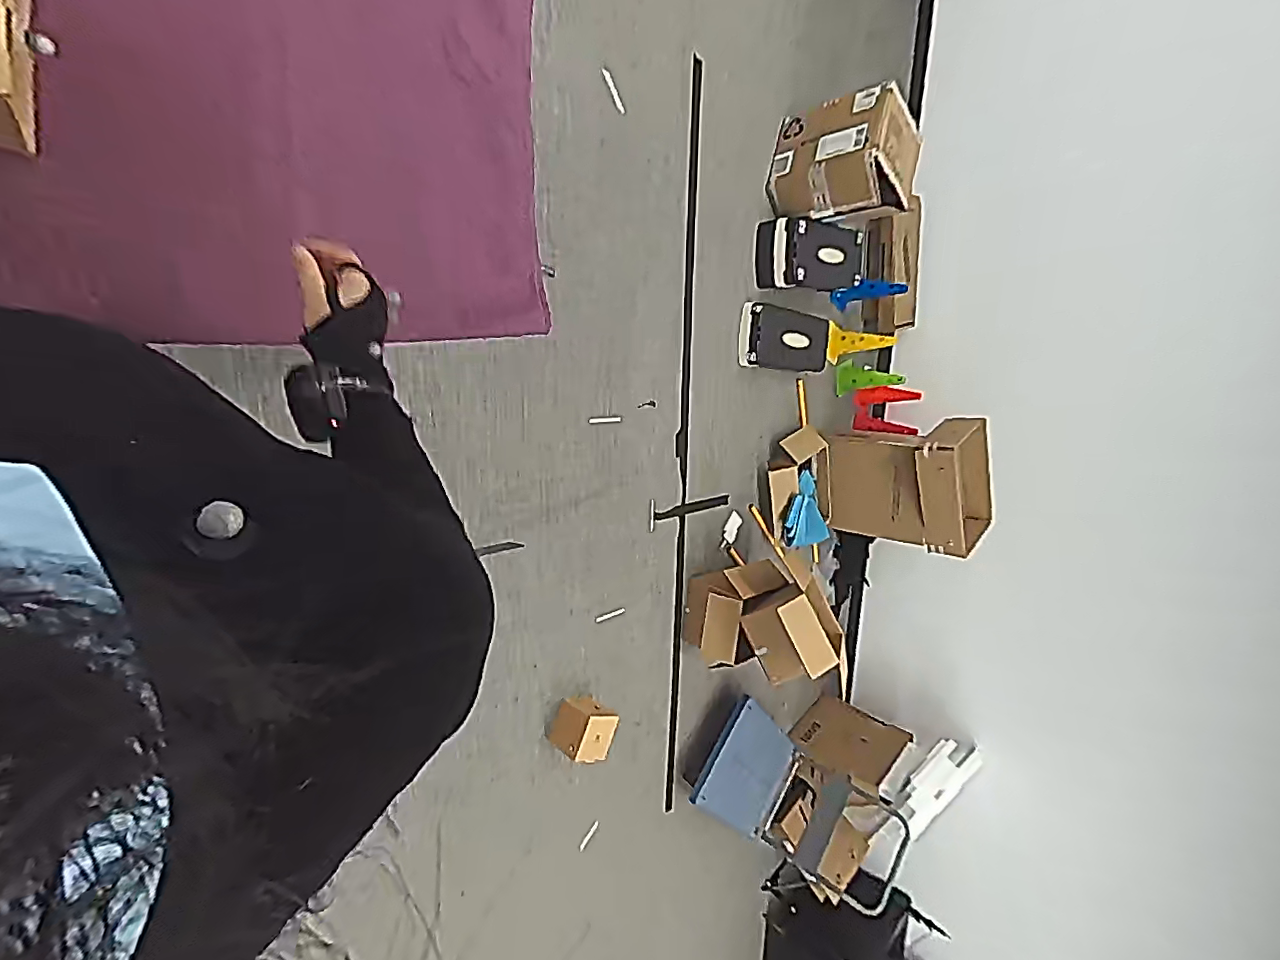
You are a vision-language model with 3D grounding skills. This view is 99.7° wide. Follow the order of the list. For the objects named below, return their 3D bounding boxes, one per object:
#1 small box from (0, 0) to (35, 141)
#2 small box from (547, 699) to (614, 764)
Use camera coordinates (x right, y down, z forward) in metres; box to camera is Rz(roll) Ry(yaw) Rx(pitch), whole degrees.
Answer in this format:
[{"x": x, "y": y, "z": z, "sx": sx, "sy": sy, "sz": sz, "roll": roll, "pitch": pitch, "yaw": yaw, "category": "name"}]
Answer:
[{"x": -0.556, "y": -0.369, "z": 0.373, "sx": 0.179, "sy": 0.176, "sz": 0.168, "roll": 0, "pitch": 100, "yaw": -46, "category": "small box"}, {"x": -0.233, "y": 0.963, "z": 2.086, "sx": 0.168, "sy": 0.176, "sz": 0.179, "roll": 26, "pitch": 82, "yaw": -46, "category": "small box"}]
